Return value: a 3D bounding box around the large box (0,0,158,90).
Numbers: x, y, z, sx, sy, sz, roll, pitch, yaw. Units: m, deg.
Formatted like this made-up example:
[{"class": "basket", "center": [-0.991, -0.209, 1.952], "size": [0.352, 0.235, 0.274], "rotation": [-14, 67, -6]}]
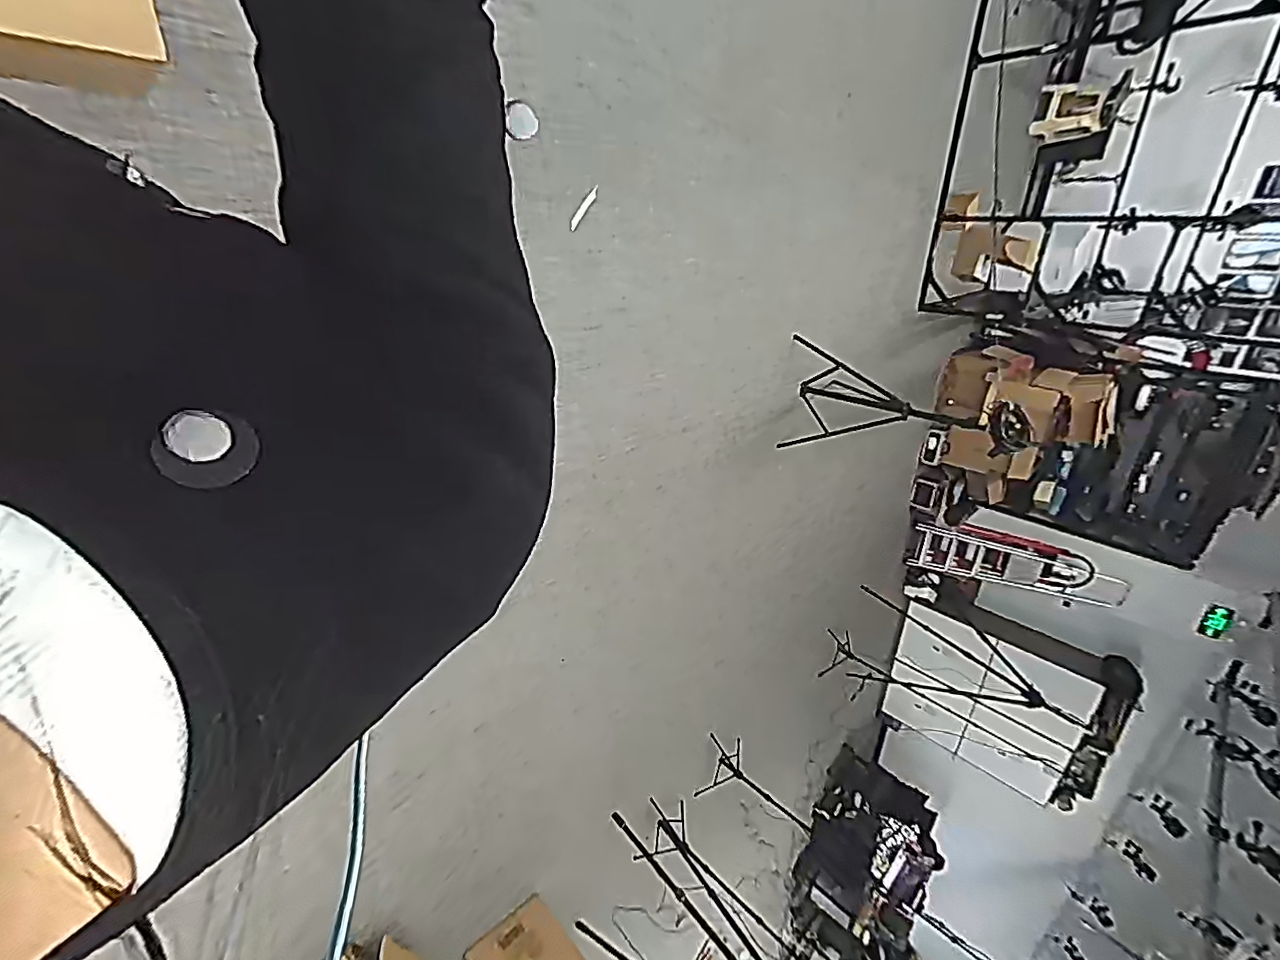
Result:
[{"class": "large box", "center": [-0.939, -0.735, 0.683], "size": [0.408, 0.320, 0.320], "rotation": [-22, 123, -41]}]
